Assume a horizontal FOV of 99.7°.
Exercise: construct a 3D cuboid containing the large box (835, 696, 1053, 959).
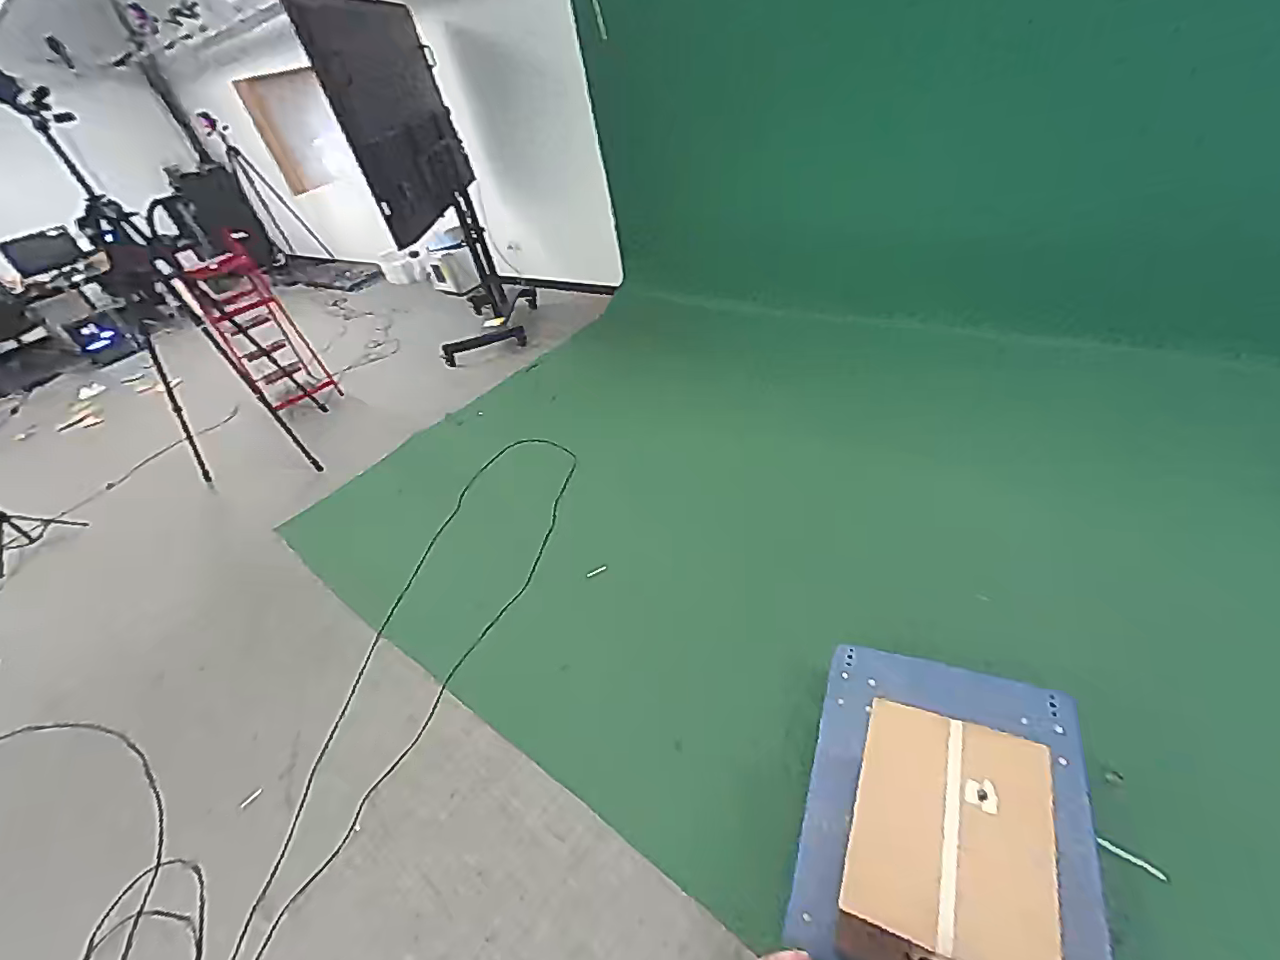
[{"bbox_3d":[0.579,0.727,1.070,0.320,0.320,0.408,9,44,26],"label":"large box"}]
